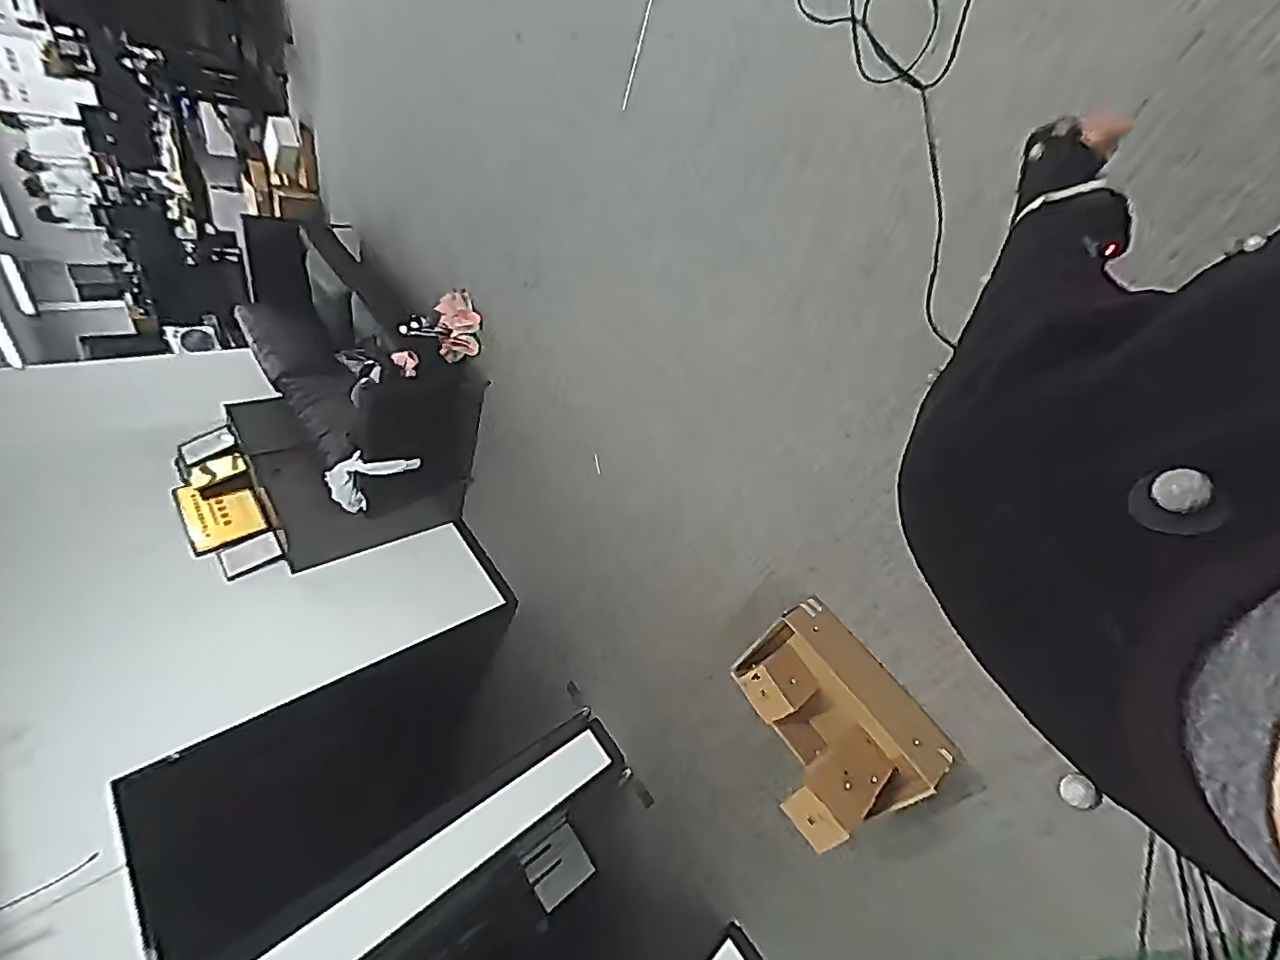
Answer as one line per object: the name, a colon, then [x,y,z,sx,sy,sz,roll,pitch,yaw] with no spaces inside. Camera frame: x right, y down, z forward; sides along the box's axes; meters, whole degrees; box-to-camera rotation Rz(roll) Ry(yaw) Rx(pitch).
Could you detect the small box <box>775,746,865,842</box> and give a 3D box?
small box: [0.557,0.965,1.668,0.168,0.176,0.179,46,133,25]
